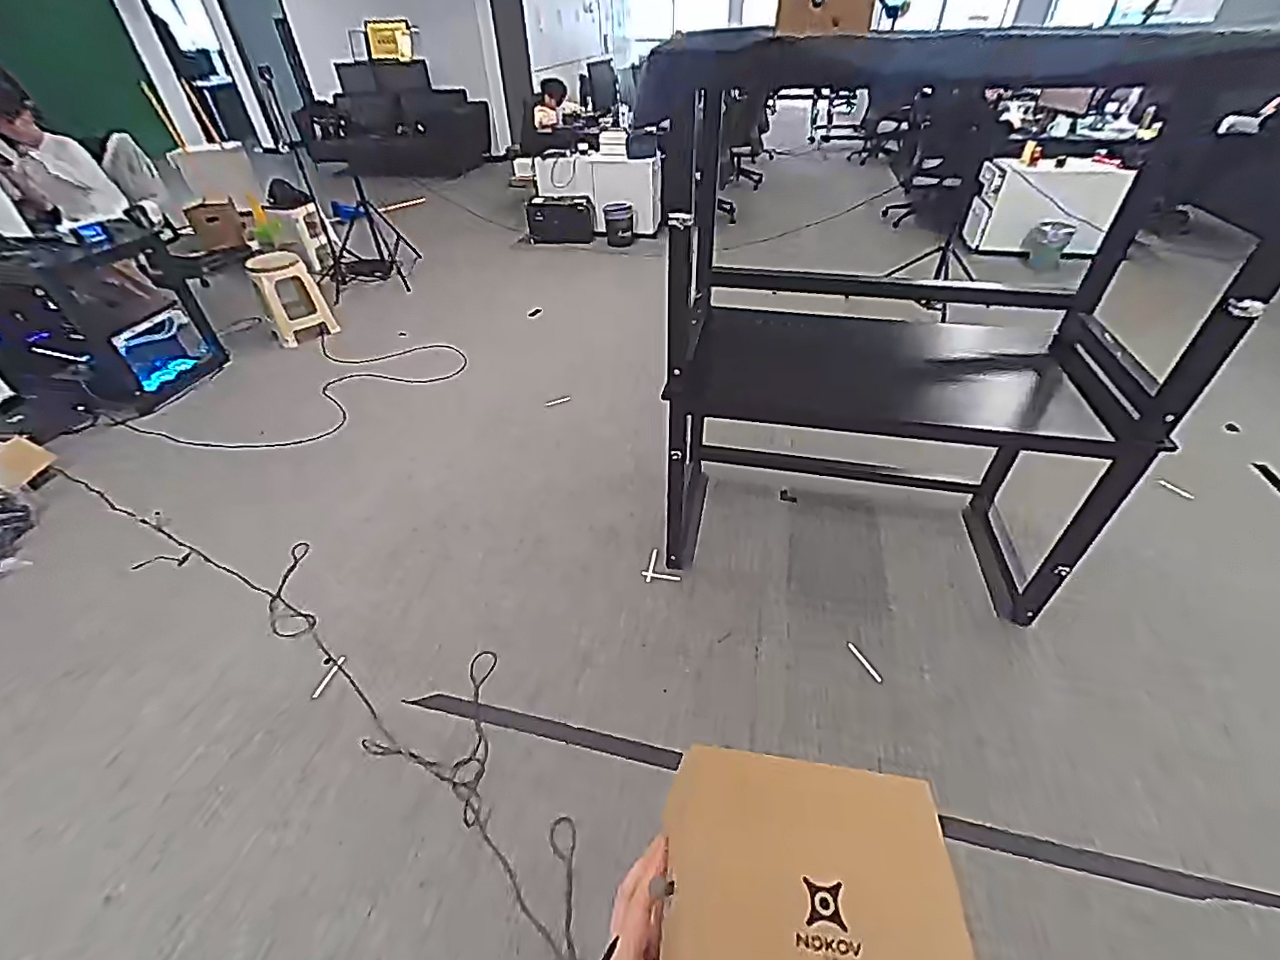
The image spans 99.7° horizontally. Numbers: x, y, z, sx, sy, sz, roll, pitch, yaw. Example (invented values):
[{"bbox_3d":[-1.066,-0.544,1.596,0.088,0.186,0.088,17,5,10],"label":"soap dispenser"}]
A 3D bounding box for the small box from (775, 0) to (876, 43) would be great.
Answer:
[{"bbox_3d":[0.340,-0.900,0.973,0.168,0.176,0.179,8,40,9],"label":"small box"}]

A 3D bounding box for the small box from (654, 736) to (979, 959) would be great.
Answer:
[{"bbox_3d":[0.098,0.304,0.358,0.168,0.176,0.179,8,42,2],"label":"small box"}]
